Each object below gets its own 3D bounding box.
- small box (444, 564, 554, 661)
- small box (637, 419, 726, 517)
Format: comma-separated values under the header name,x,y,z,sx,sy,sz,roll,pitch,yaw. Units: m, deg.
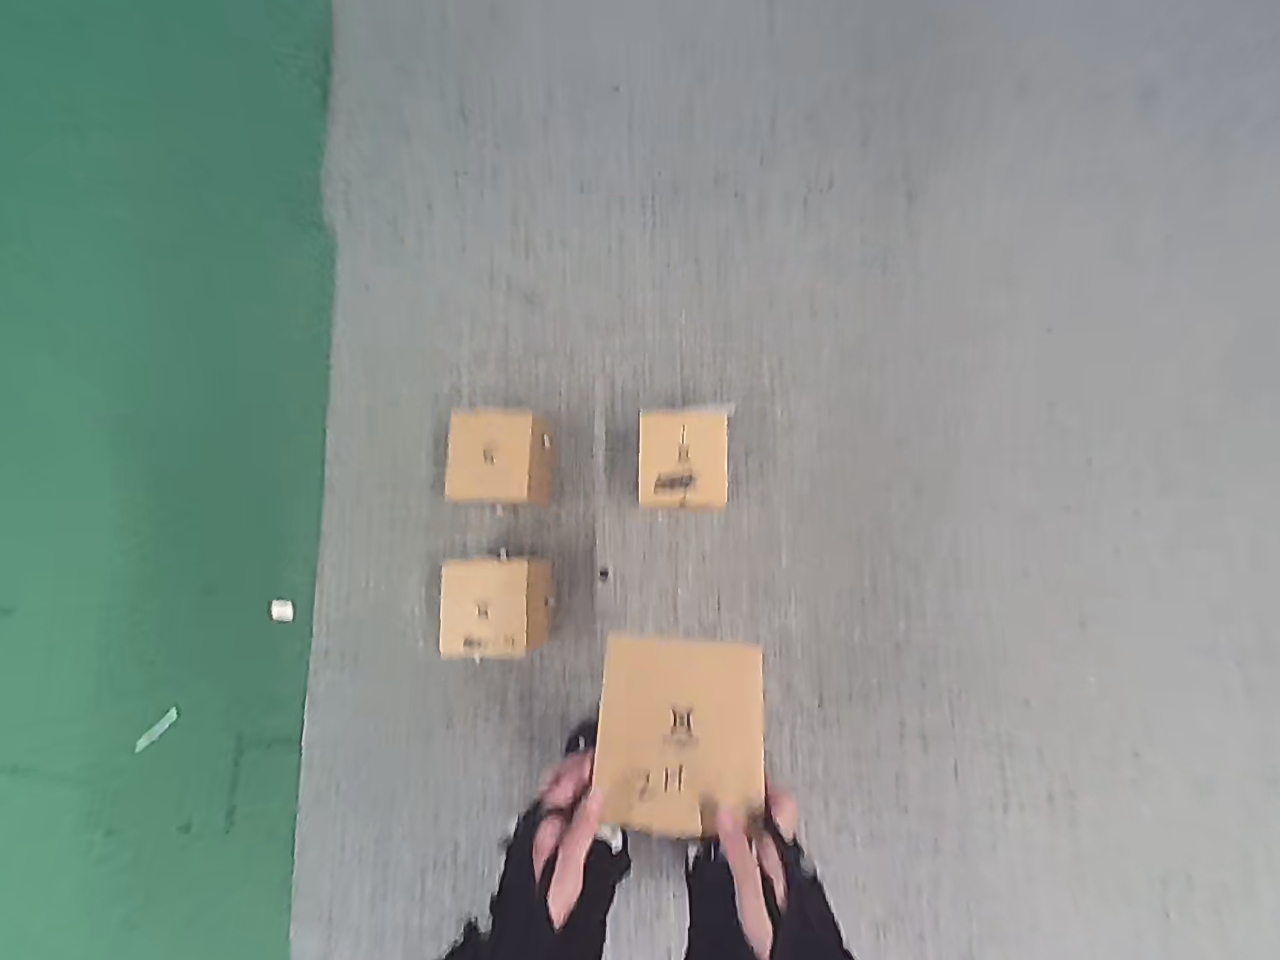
name,x,y,z,sx,sy,sz,roll,pitch,yaw
small box,-0.273,0.259,1.082,0.168,0.176,0.179,-2,81,6
small box,0.087,-0.019,1.083,0.168,0.176,0.179,0,82,6
